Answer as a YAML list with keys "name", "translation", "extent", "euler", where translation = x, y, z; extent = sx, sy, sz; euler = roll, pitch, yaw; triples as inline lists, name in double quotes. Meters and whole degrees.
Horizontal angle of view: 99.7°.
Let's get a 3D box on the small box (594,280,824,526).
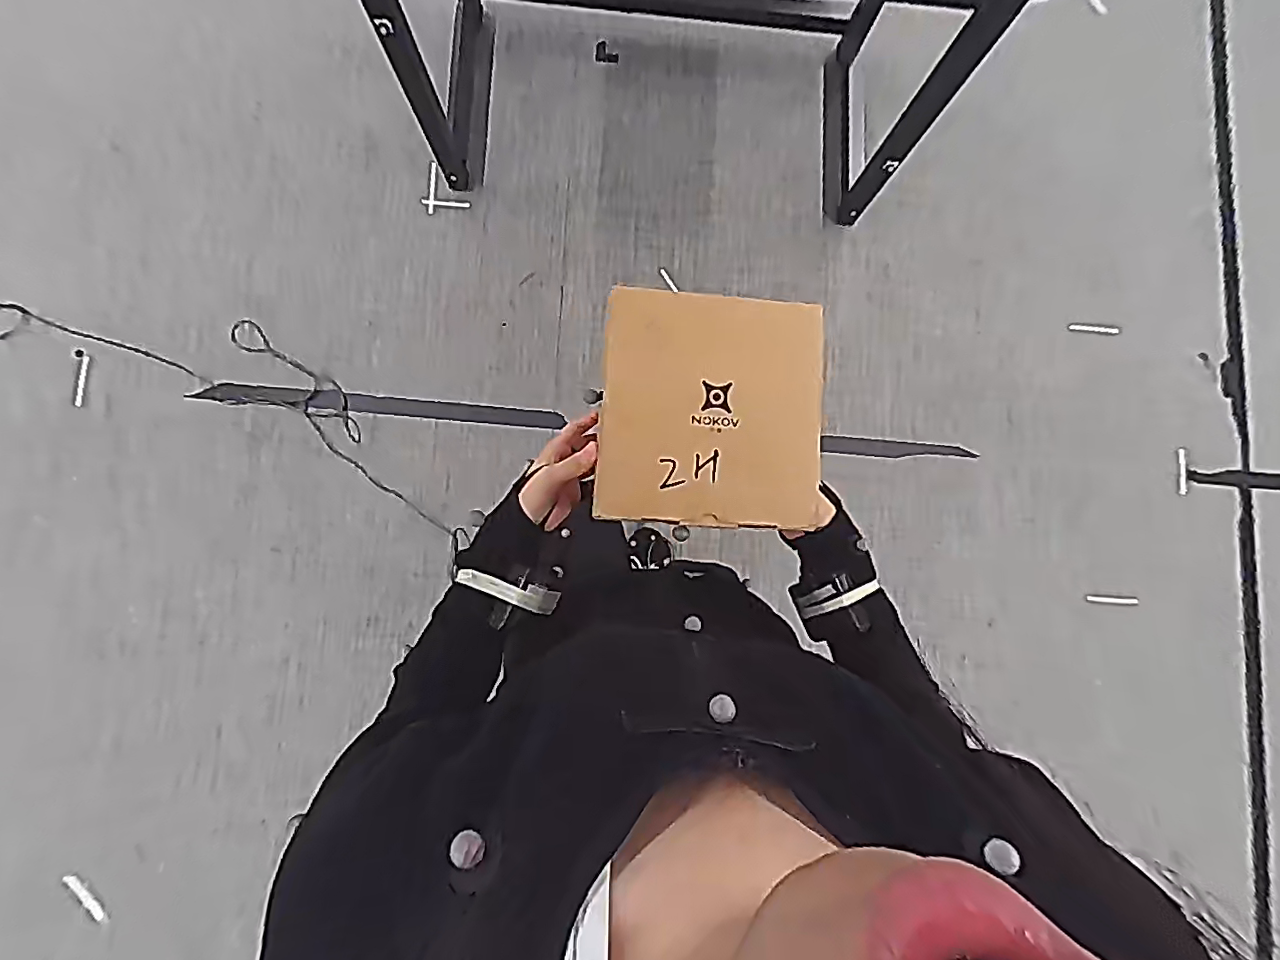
- name: "small box"
  translation: [0.048, -0.051, 0.481]
  extent: [0.168, 0.176, 0.179]
  euler: [4, 86, -6]
